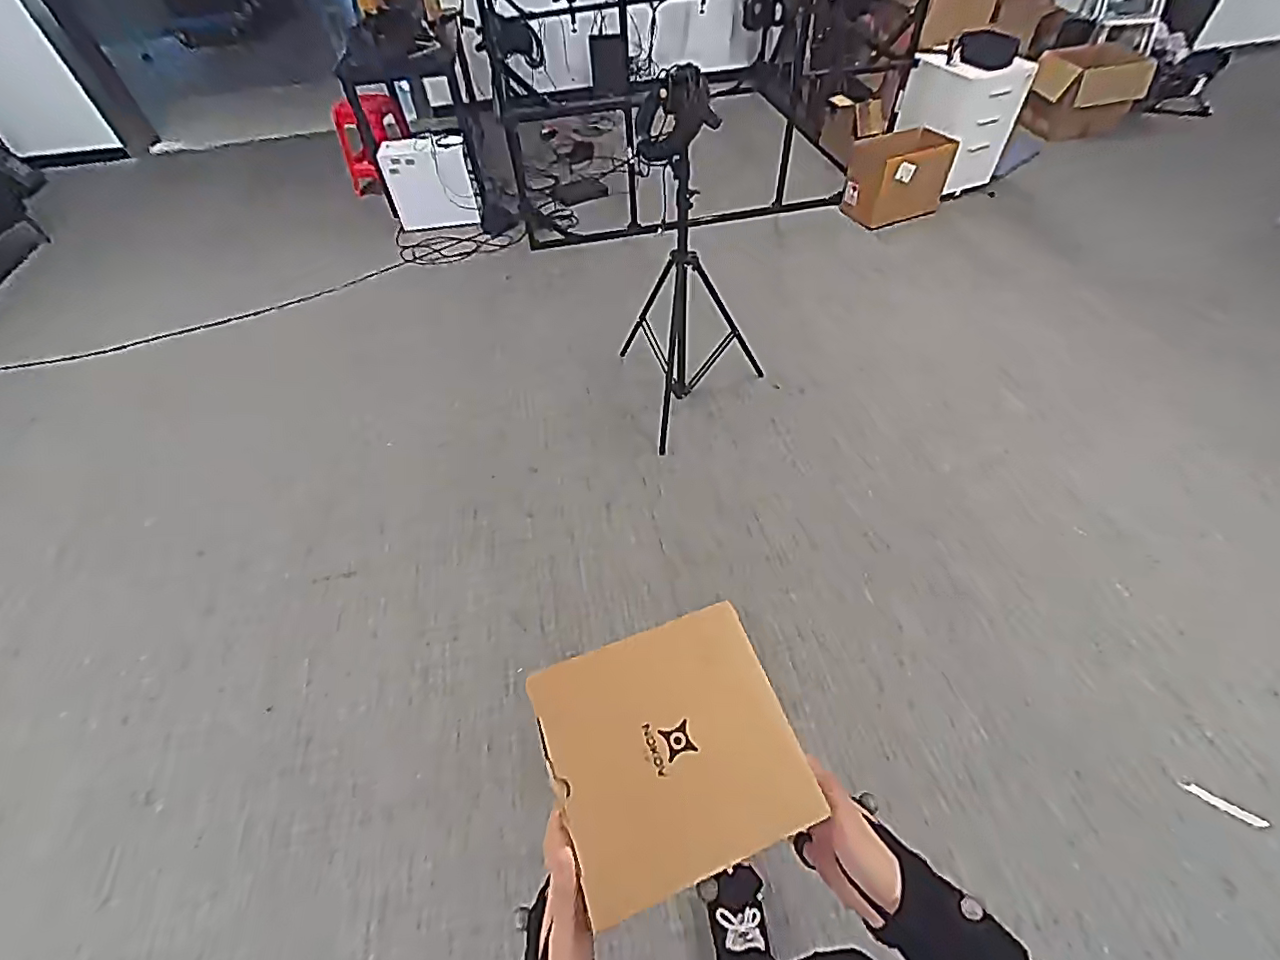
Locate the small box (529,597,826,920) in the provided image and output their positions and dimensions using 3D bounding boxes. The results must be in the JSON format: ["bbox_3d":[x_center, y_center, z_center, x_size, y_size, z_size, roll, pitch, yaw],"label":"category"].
[{"bbox_3d":[0.018,0.225,0.462,0.179,0.176,0.168,-18,62,-13],"label":"small box"}]
